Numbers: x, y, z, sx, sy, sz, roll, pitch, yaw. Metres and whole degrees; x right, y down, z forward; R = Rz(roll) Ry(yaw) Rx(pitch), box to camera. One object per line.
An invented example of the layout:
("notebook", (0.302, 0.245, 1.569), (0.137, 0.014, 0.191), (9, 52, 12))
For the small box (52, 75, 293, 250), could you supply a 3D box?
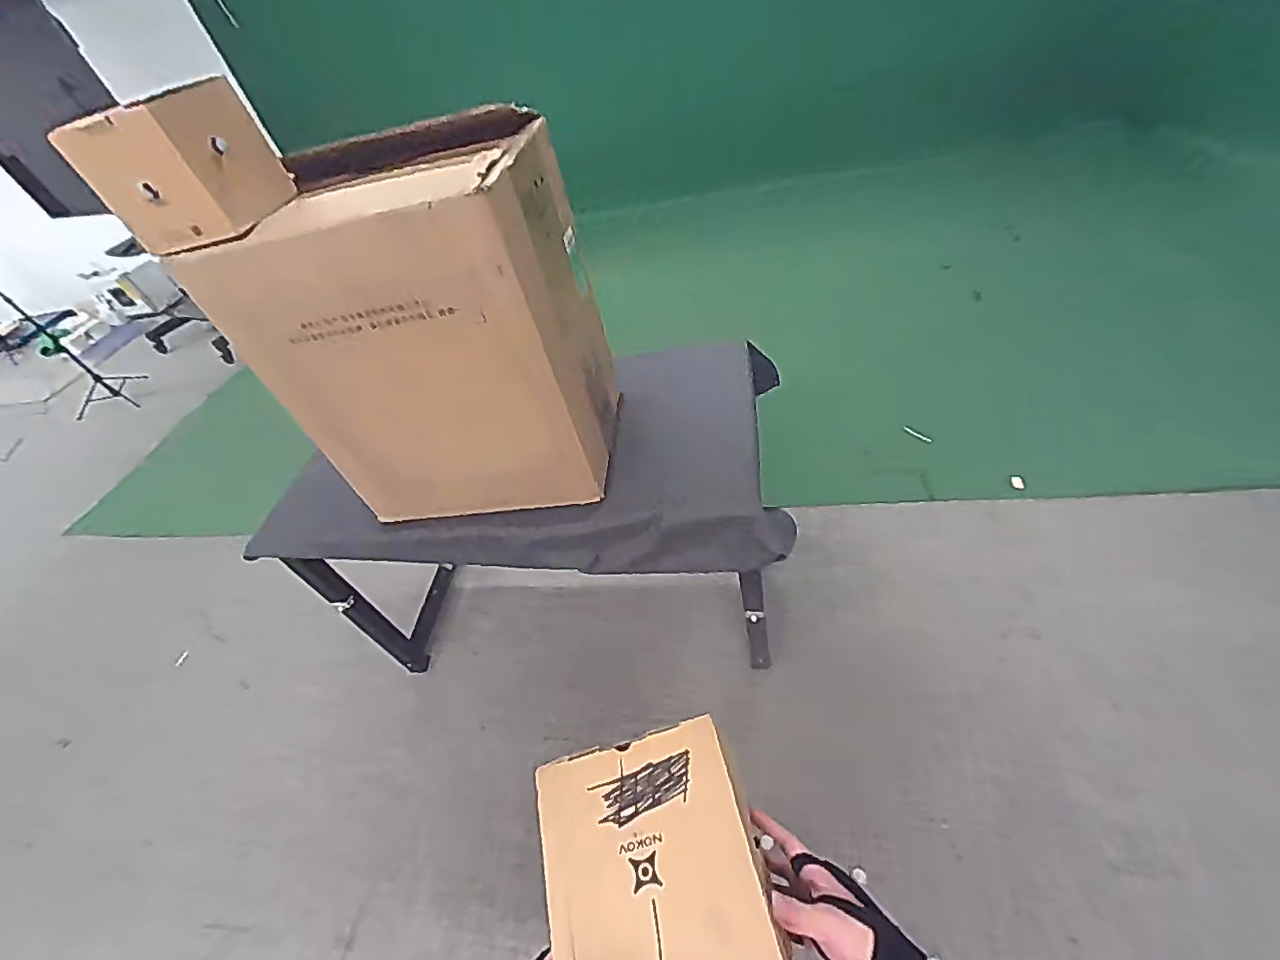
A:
("small box", (-0.666, -0.459, 0.801), (0.168, 0.176, 0.179), (-6, 46, 13))
